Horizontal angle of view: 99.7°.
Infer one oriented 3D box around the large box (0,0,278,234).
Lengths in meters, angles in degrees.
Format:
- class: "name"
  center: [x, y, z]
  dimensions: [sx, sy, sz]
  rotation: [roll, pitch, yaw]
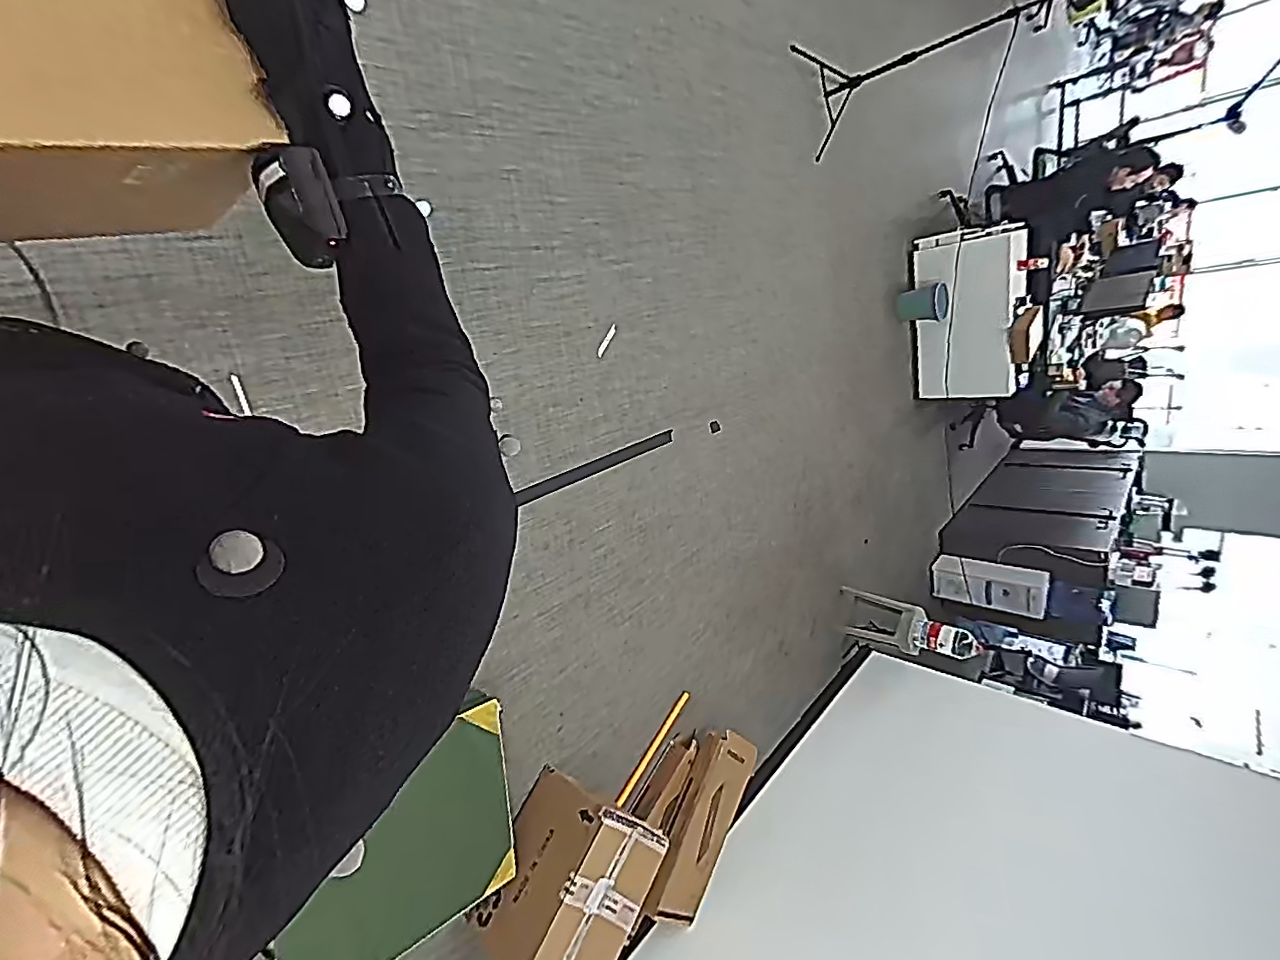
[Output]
- class: "large box"
  center: [-0.510, -0.313, 0.284]
  dimensions: [0.408, 0.320, 0.320]
  rotation: [-30, 120, -40]
